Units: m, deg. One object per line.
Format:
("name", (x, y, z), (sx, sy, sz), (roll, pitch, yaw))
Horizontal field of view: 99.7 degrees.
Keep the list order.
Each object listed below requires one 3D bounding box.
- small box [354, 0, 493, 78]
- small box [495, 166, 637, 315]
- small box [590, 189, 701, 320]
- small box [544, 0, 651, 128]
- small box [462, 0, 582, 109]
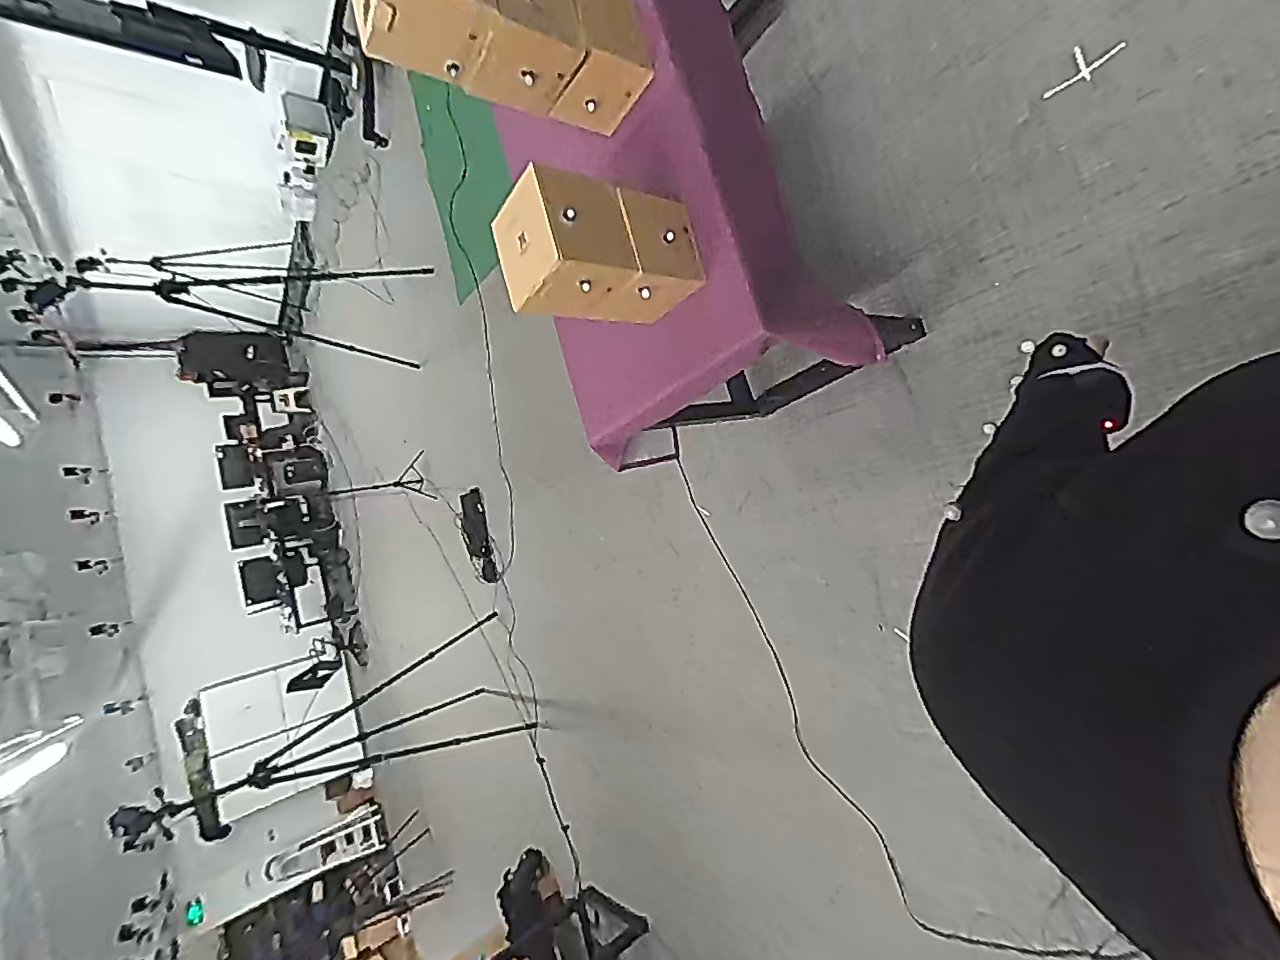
("small box", (-0.352, -0.795, 0.871), (0.168, 0.176, 0.179), (-17, 84, 51))
("small box", (-0.128, -0.407, 0.952), (0.168, 0.176, 0.179), (-23, 80, 49))
("small box", (-0.001, -0.427, 1.054), (0.179, 0.176, 0.168), (-21, 81, 51))
("small box", (-0.100, -0.842, 1.078), (0.168, 0.176, 0.179), (-24, 80, 50))
("small box", (-0.224, -0.811, 0.975), (0.168, 0.176, 0.179), (-18, 85, 51))
